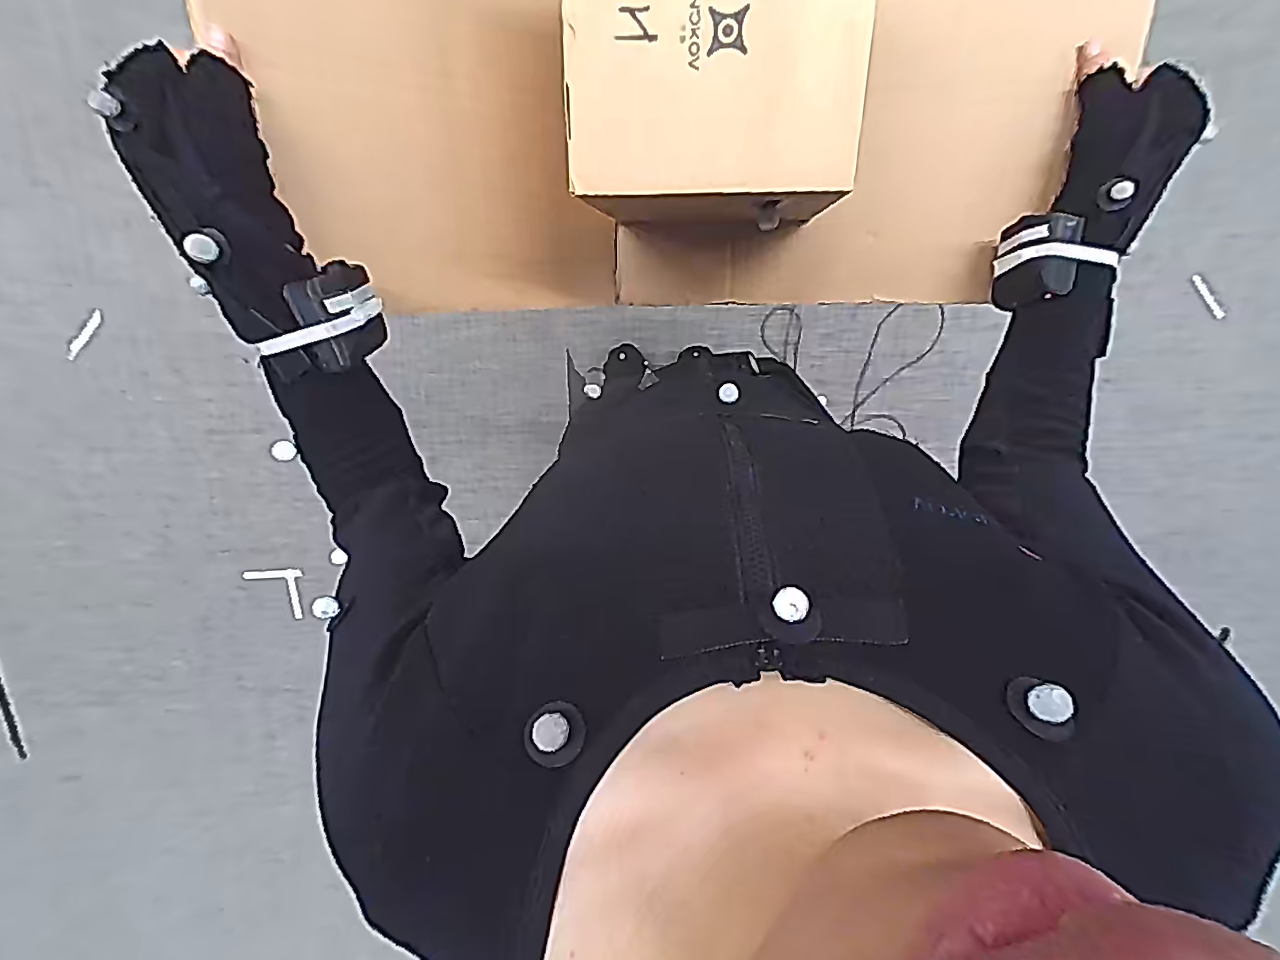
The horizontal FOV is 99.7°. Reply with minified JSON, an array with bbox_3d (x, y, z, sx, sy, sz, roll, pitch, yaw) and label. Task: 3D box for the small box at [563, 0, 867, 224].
[{"bbox_3d":[0.051,-0.284,0.388,0.179,0.176,0.168,4,110,8],"label":"small box"}]
